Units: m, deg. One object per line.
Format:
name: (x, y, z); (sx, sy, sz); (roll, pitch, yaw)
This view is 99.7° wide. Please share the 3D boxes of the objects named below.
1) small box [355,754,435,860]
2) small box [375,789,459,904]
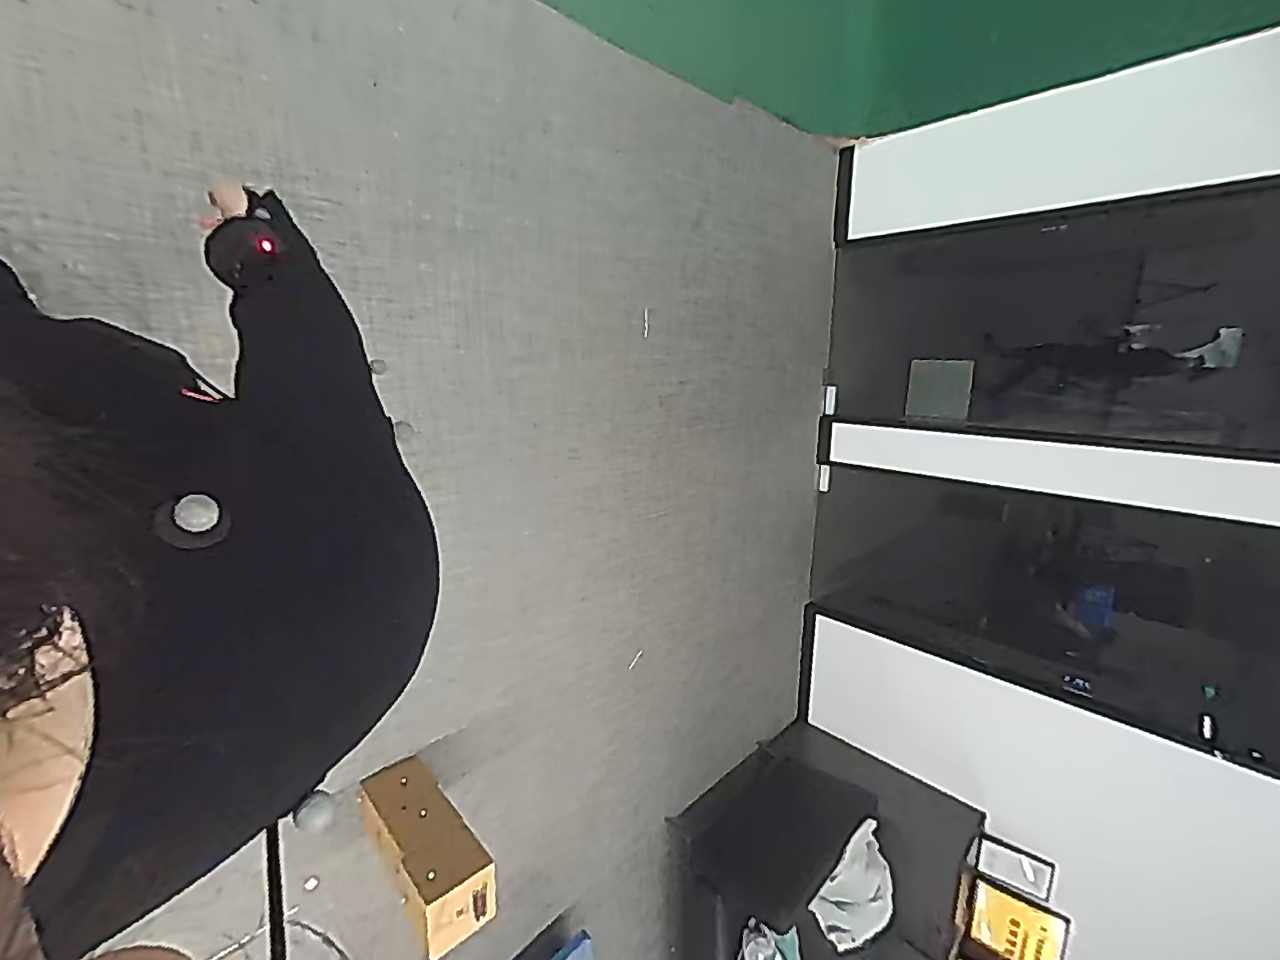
small box: (-0.726, 0.956, 1.600); (0.179, 0.176, 0.168); (-11, 108, -45)
small box: (-0.614, 0.988, 1.483); (0.168, 0.176, 0.179); (-10, 107, -44)
